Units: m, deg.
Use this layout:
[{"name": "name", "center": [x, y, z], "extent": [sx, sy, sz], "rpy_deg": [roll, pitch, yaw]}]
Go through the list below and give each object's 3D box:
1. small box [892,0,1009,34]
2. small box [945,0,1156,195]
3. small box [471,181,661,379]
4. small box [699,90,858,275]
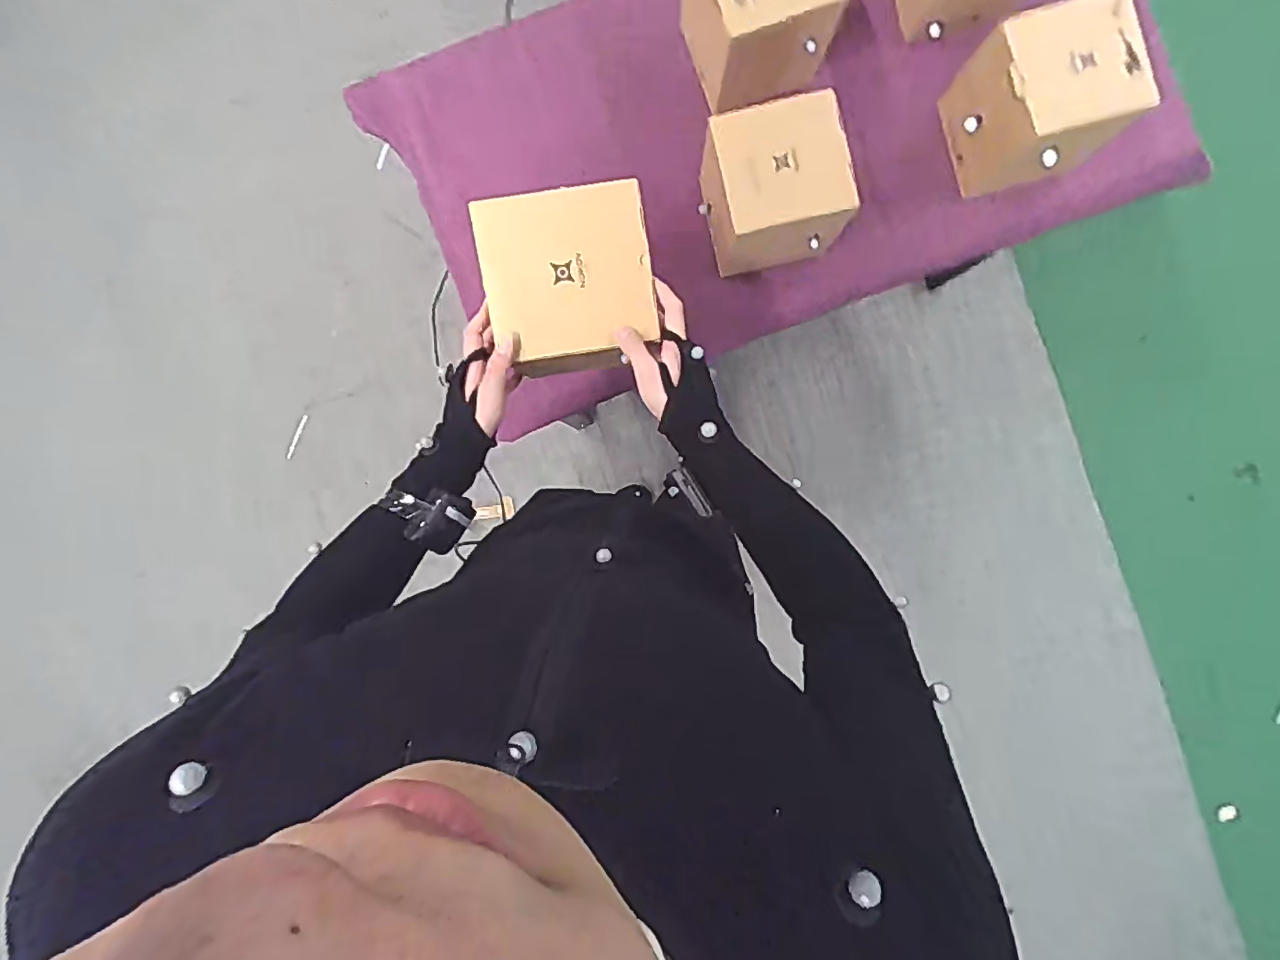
[{"name": "small box", "center": [0.483, -0.809, 0.795], "extent": [0.168, 0.176, 0.179], "rpy_deg": [-15, 91, 1]}, {"name": "small box", "center": [0.584, -0.557, 0.800], "extent": [0.179, 0.176, 0.168], "rpy_deg": [-16, 90, 2]}, {"name": "small box", "center": [-0.077, -0.216, 0.629], "extent": [0.179, 0.176, 0.168], "rpy_deg": [-9, 95, -3]}, {"name": "small box", "center": [0.195, -0.429, 0.807], "extent": [0.179, 0.176, 0.168], "rpy_deg": [-13, 90, 1]}]
